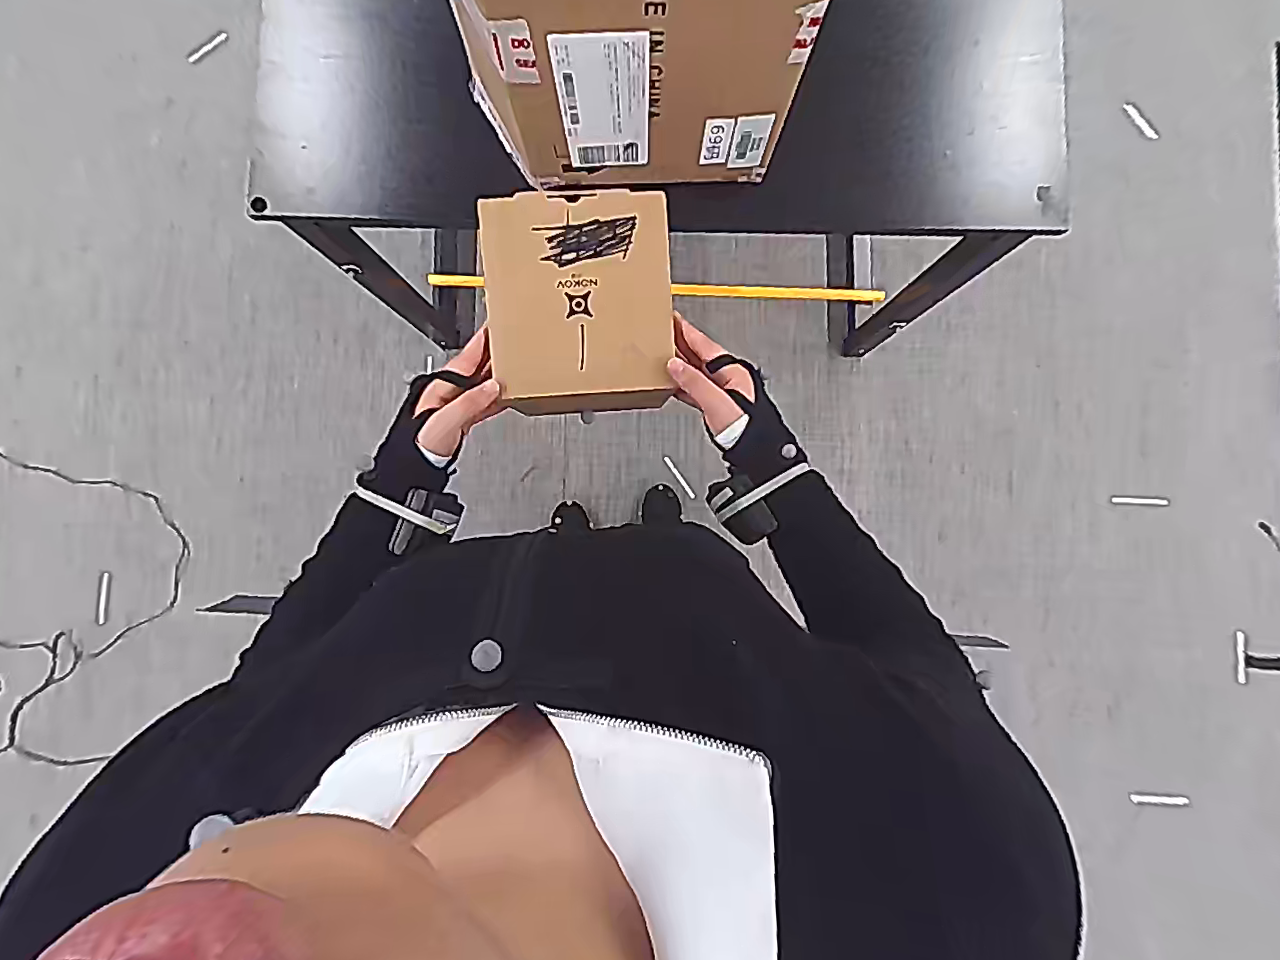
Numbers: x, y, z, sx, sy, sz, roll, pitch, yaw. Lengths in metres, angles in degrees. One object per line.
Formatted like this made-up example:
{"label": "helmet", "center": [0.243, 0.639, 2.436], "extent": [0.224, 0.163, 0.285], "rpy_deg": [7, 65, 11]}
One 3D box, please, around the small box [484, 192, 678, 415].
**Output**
{"label": "small box", "center": [-0.056, -0.167, 0.559], "extent": [0.168, 0.176, 0.179], "rpy_deg": [-4, 92, -2]}
